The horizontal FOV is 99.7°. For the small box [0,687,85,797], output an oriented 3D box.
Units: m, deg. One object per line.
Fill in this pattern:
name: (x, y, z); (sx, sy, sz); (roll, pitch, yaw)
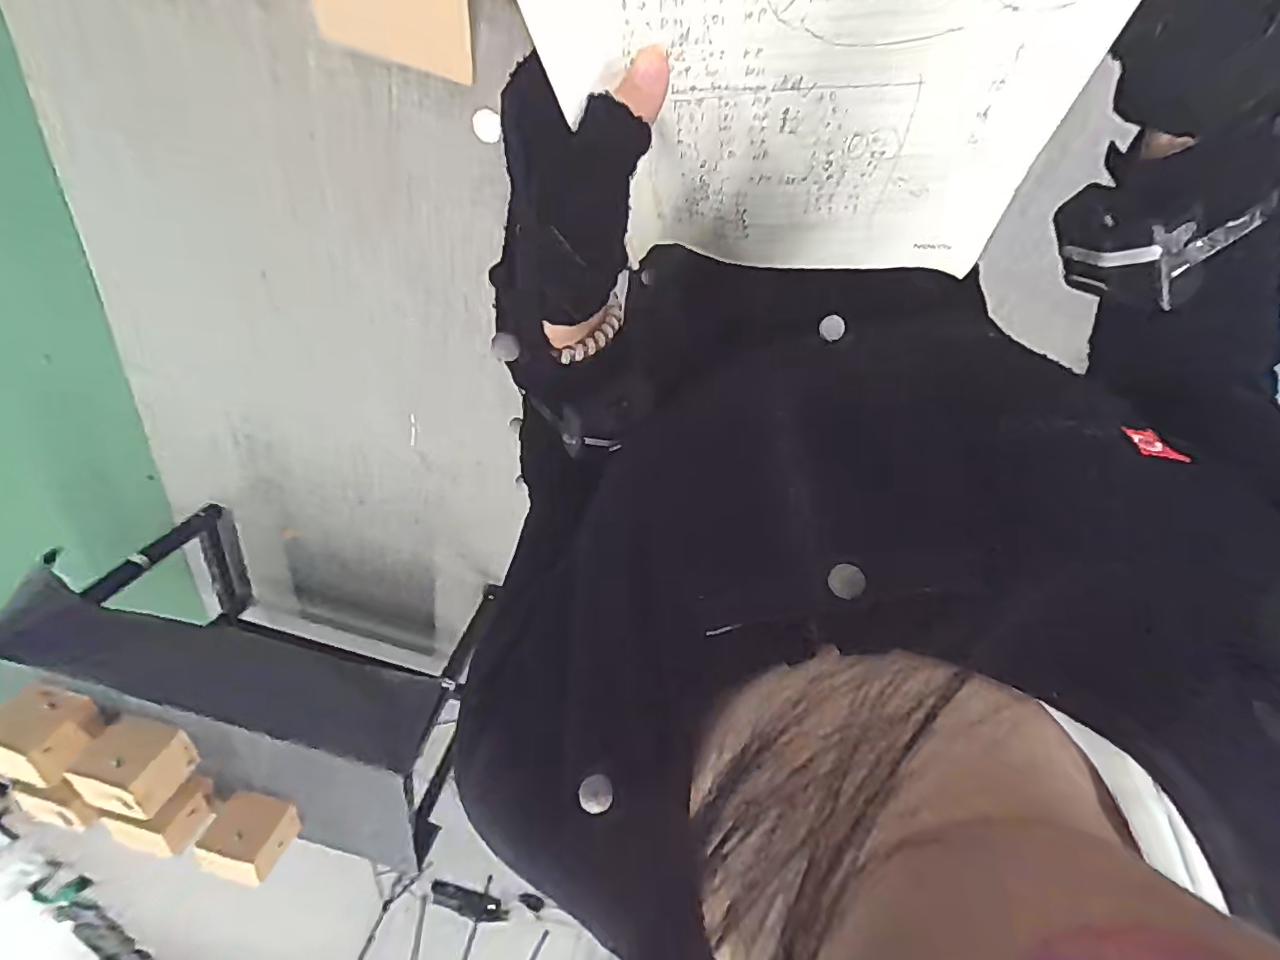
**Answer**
small box: (-1.602, 0.670, 1.391); (0.168, 0.176, 0.179); (18, 123, -2)

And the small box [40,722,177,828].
small box: (-1.355, 0.758, 1.399); (0.179, 0.176, 0.168); (13, 123, 2)
